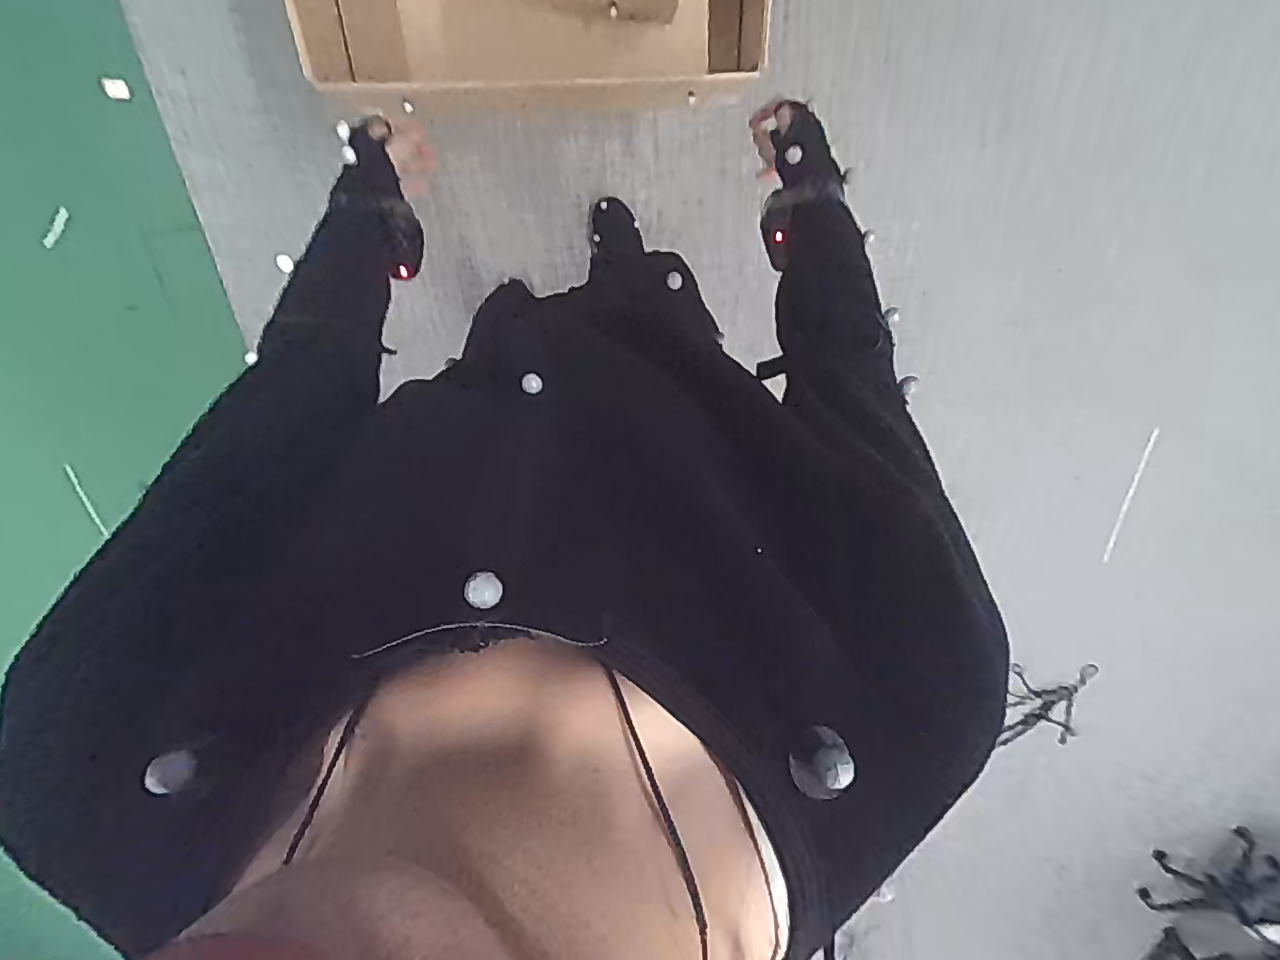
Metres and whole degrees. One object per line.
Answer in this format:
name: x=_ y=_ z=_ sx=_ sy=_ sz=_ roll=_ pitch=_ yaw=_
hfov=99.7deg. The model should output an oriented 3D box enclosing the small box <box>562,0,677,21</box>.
small box: x=-0.026 y=-0.713 z=0.681 sx=0.168 sy=0.176 sz=0.179 roll=2 pitch=117 yaw=-3
